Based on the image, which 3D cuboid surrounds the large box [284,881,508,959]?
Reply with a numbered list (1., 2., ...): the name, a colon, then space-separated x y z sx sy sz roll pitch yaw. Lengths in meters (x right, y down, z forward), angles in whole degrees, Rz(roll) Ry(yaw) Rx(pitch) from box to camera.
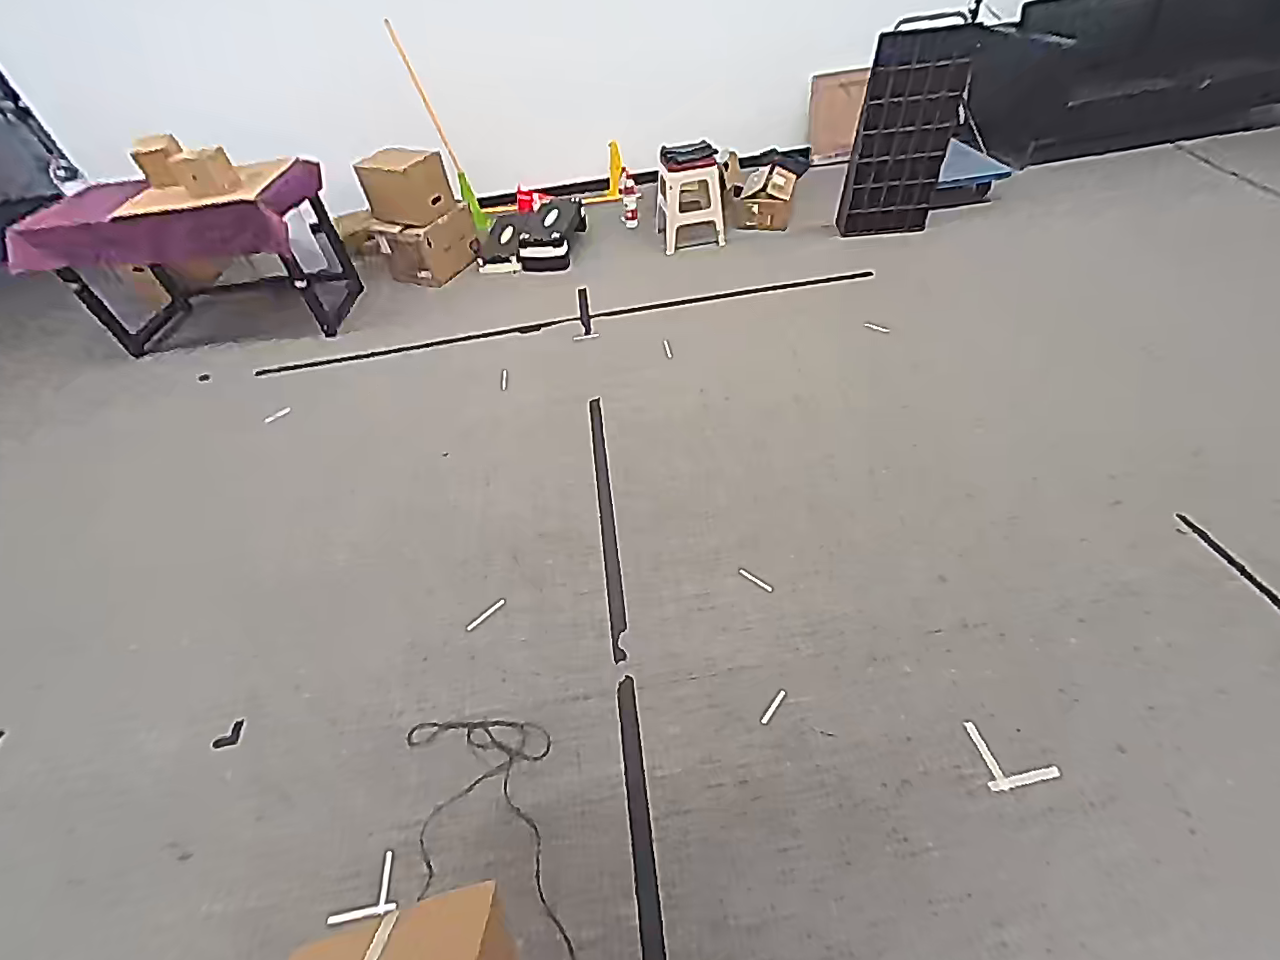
1. large box: -0.323 0.811 0.647 0.320 0.408 0.320 -16 90 -6
